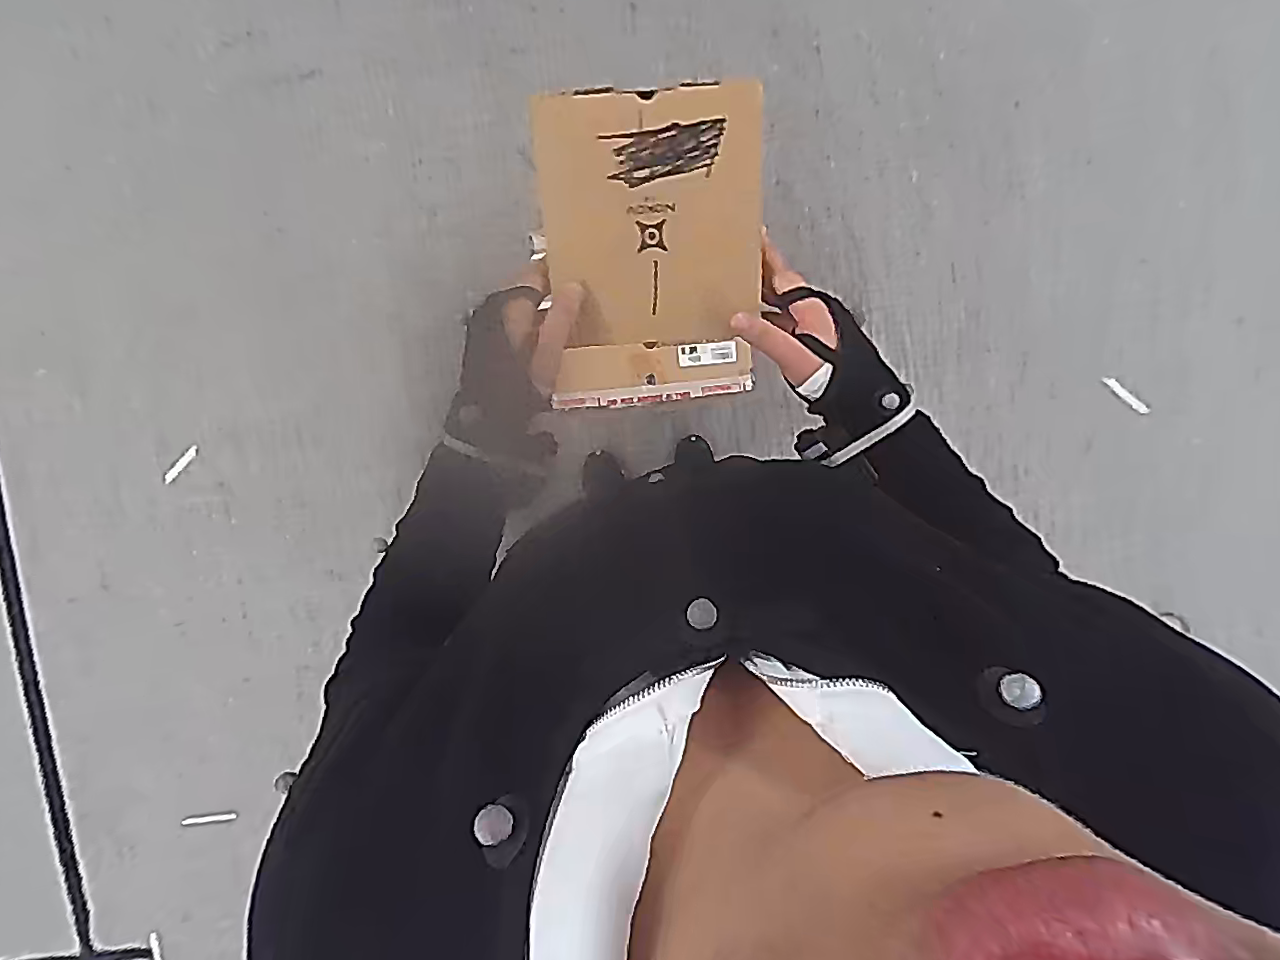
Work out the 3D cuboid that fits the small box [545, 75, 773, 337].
[{"bbox_3d":[0.014,-0.226,0.483,0.168,0.176,0.179,-3,110,1],"label":"small box"}]
